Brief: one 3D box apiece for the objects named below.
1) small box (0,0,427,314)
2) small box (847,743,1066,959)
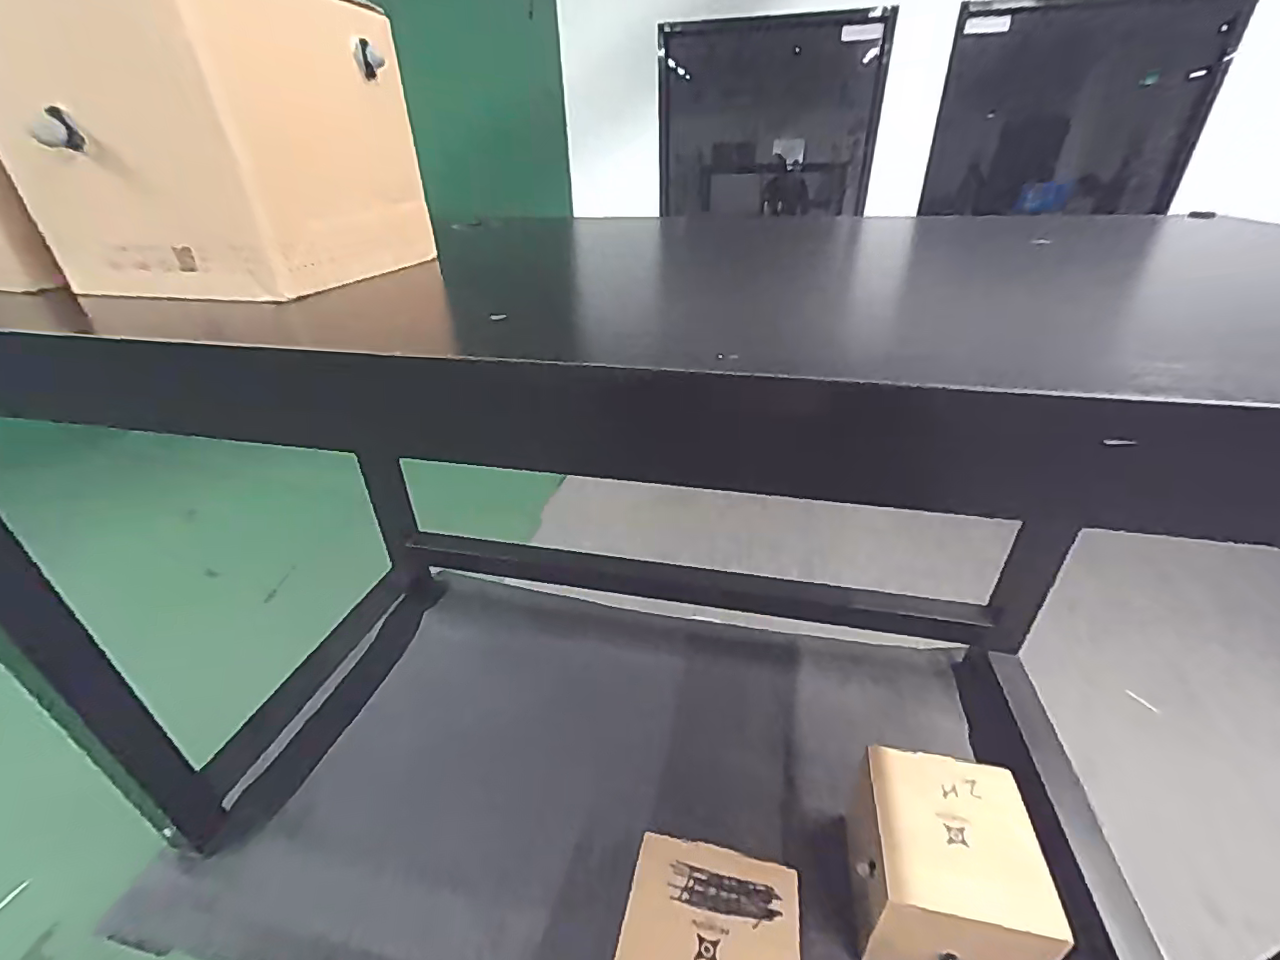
[{"bbox_3d":[-0.276,-0.218,0.377,0.168,0.176,0.179,5,31,12],"label":"small box"},{"bbox_3d":[0.348,0.452,0.638,0.168,0.176,0.179,5,30,12],"label":"small box"}]
